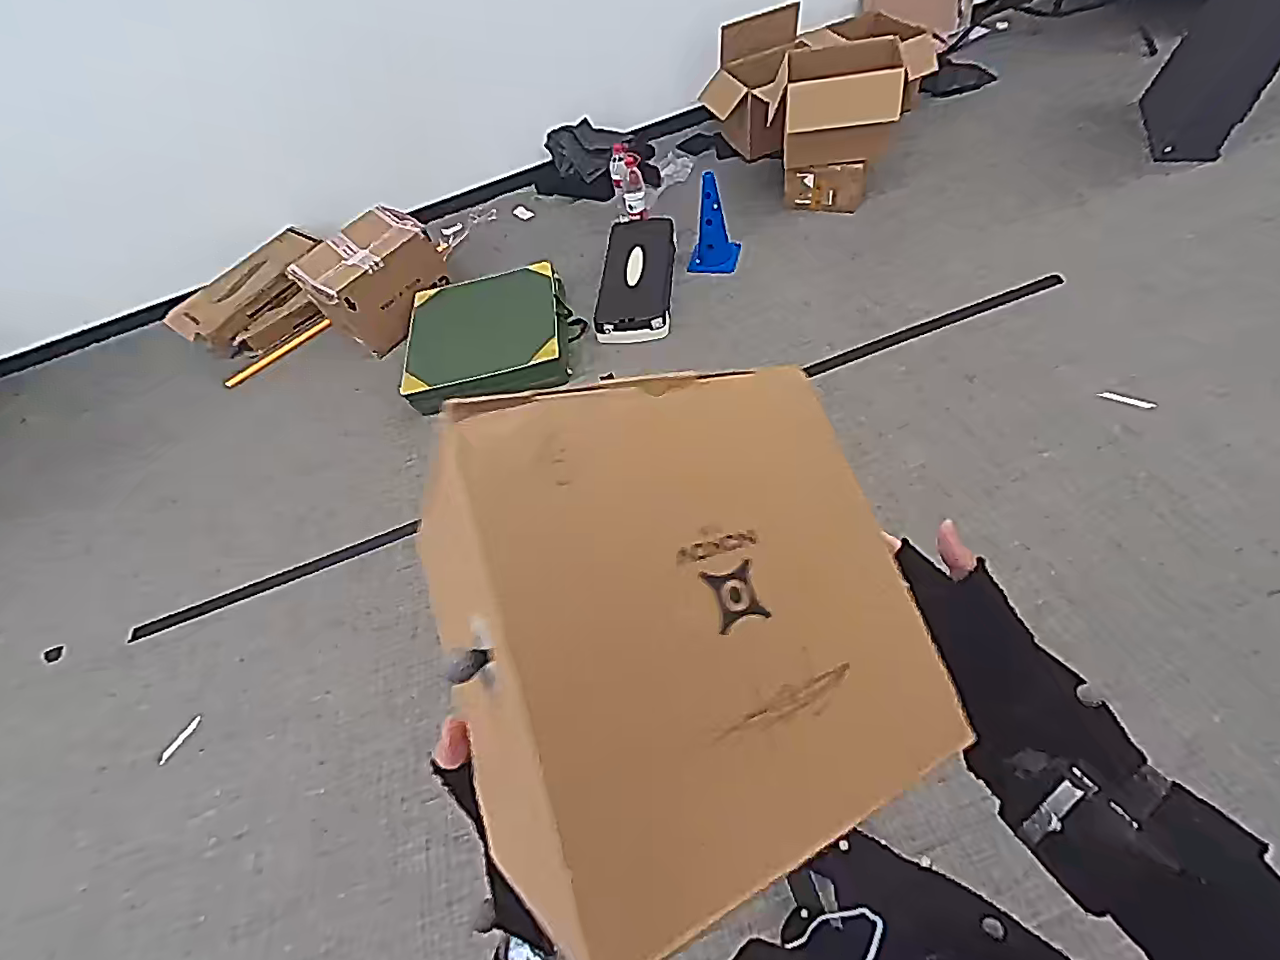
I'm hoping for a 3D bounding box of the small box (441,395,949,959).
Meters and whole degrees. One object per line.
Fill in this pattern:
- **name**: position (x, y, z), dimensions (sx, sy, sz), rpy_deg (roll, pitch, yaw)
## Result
- **small box**: position (0.002, 0.078, 0.279), dimensions (0.168, 0.176, 0.179), rpy_deg (-10, 72, -28)
